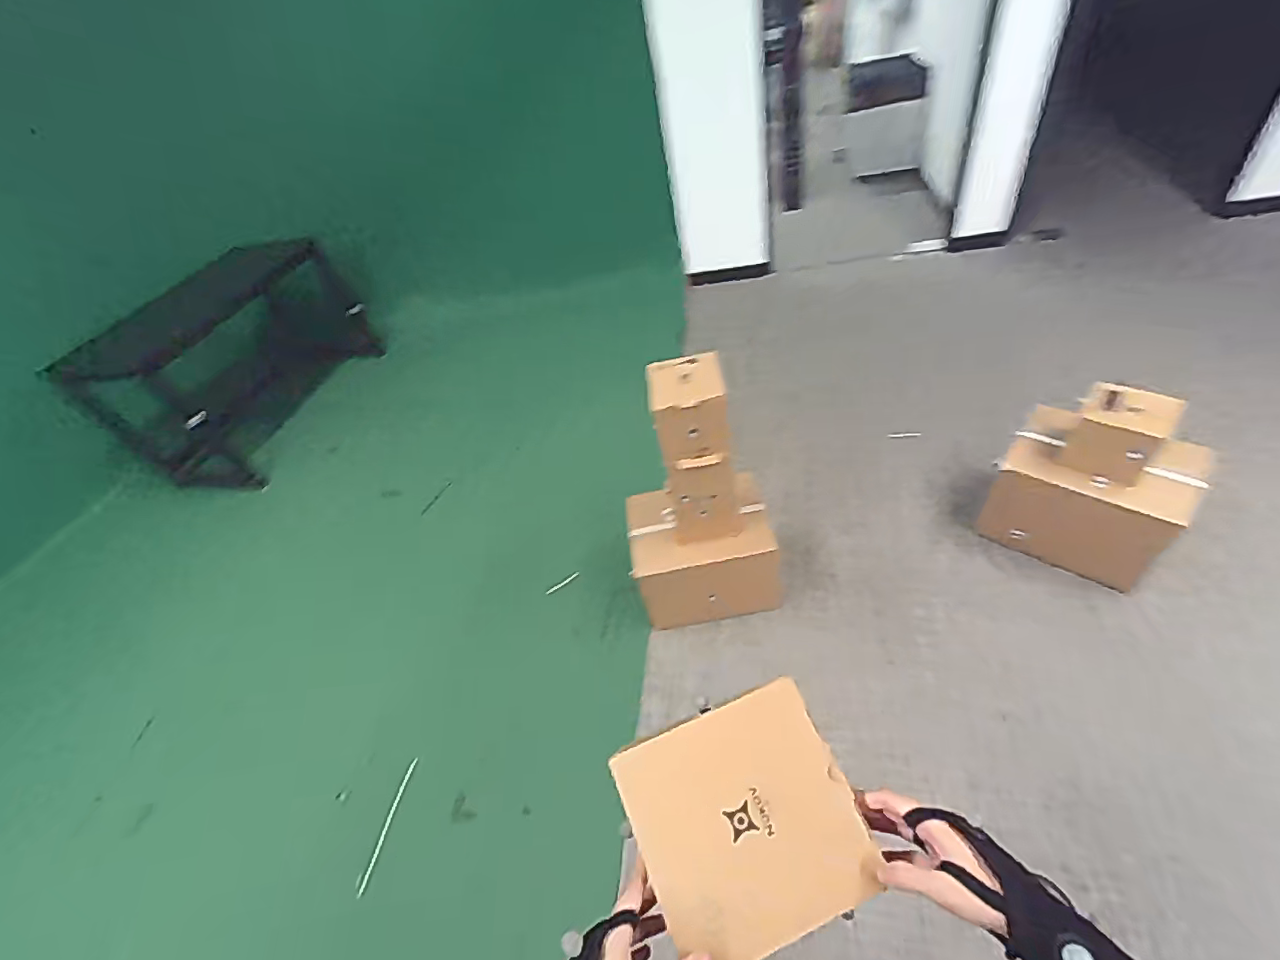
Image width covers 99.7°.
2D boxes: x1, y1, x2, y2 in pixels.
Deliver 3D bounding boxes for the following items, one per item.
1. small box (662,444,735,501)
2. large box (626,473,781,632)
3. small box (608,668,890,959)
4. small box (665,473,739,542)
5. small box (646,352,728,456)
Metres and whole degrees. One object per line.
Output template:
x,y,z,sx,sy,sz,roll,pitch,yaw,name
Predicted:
0.150,-0.060,1.403,0.168,0.176,0.179,-9,46,8,small box
0.196,0.231,1.688,0.408,0.320,0.320,-13,43,5,large box
0.084,0.297,0.501,0.179,0.176,0.168,-21,66,-10,small box
0.173,0.057,1.515,0.179,0.176,0.168,-10,46,6,small box
0.113,-0.174,1.289,0.168,0.176,0.179,-10,47,7,small box
